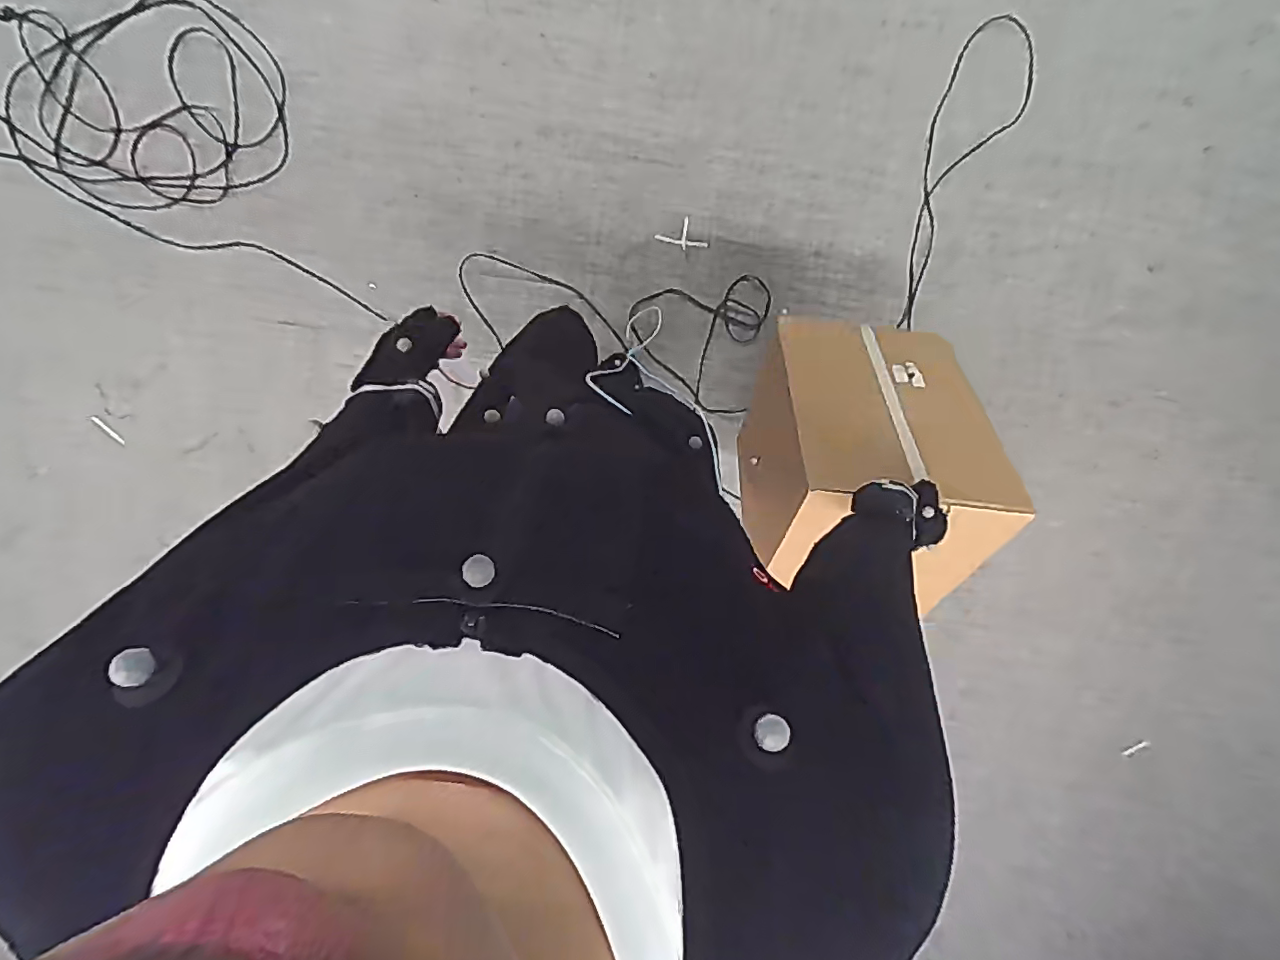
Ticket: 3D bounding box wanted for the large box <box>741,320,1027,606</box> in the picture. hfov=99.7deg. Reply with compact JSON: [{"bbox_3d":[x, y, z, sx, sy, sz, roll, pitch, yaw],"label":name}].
[{"bbox_3d":[0.375,-0.028,0.968,0.320,0.408,0.320,7,140,-3],"label":"large box"}]
